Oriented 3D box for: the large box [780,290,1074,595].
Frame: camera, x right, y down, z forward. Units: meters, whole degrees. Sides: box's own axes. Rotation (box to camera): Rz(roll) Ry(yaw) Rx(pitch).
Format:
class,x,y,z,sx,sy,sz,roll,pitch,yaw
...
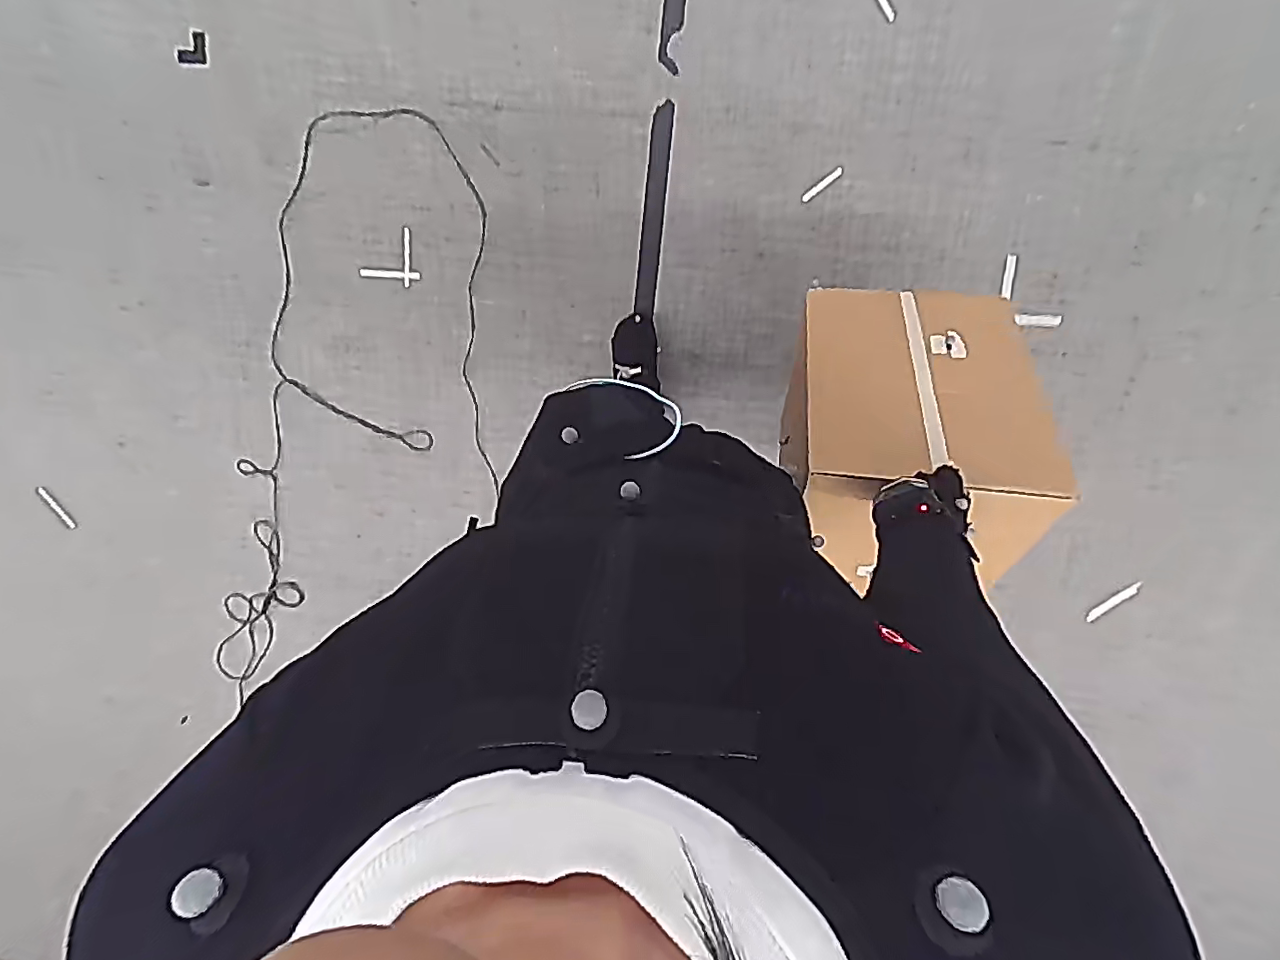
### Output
class,x,y,z,sx,sy,sz,roll,pitch,yaw
large box,0.412,-0.064,0.904,0.320,0.408,0.320,7,142,7
